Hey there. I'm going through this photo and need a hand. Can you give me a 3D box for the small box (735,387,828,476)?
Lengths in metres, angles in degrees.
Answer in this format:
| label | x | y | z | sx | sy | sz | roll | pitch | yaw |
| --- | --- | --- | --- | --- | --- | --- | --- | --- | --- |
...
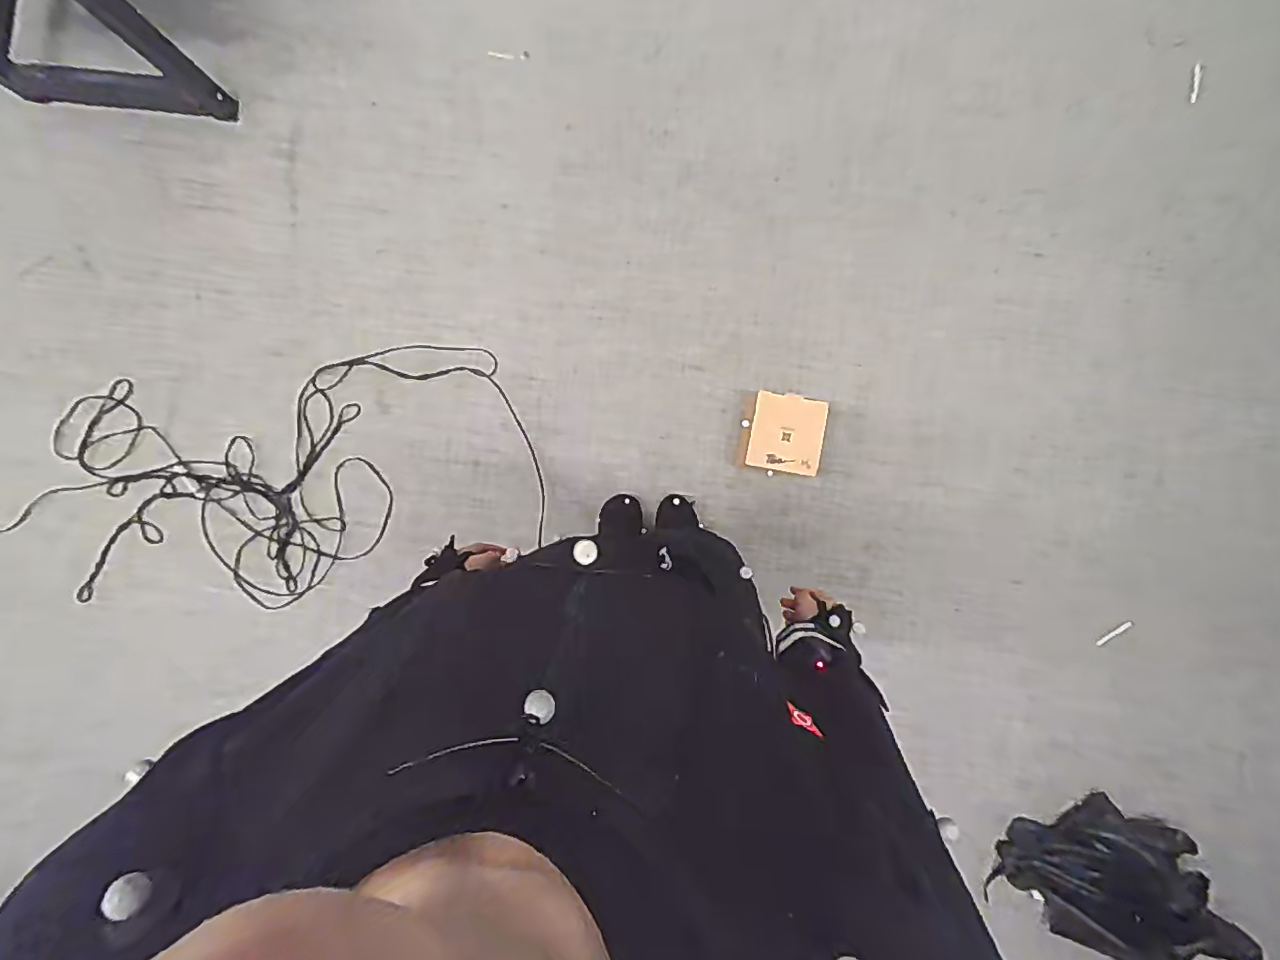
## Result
| label | x | y | z | sx | sy | sz | roll | pitch | yaw |
| --- | --- | --- | --- | --- | --- | --- | --- | --- | --- |
| small box | 0.333 | -0.109 | 1.303 | 0.168 | 0.176 | 0.179 | 10 | 89 | 1 |
